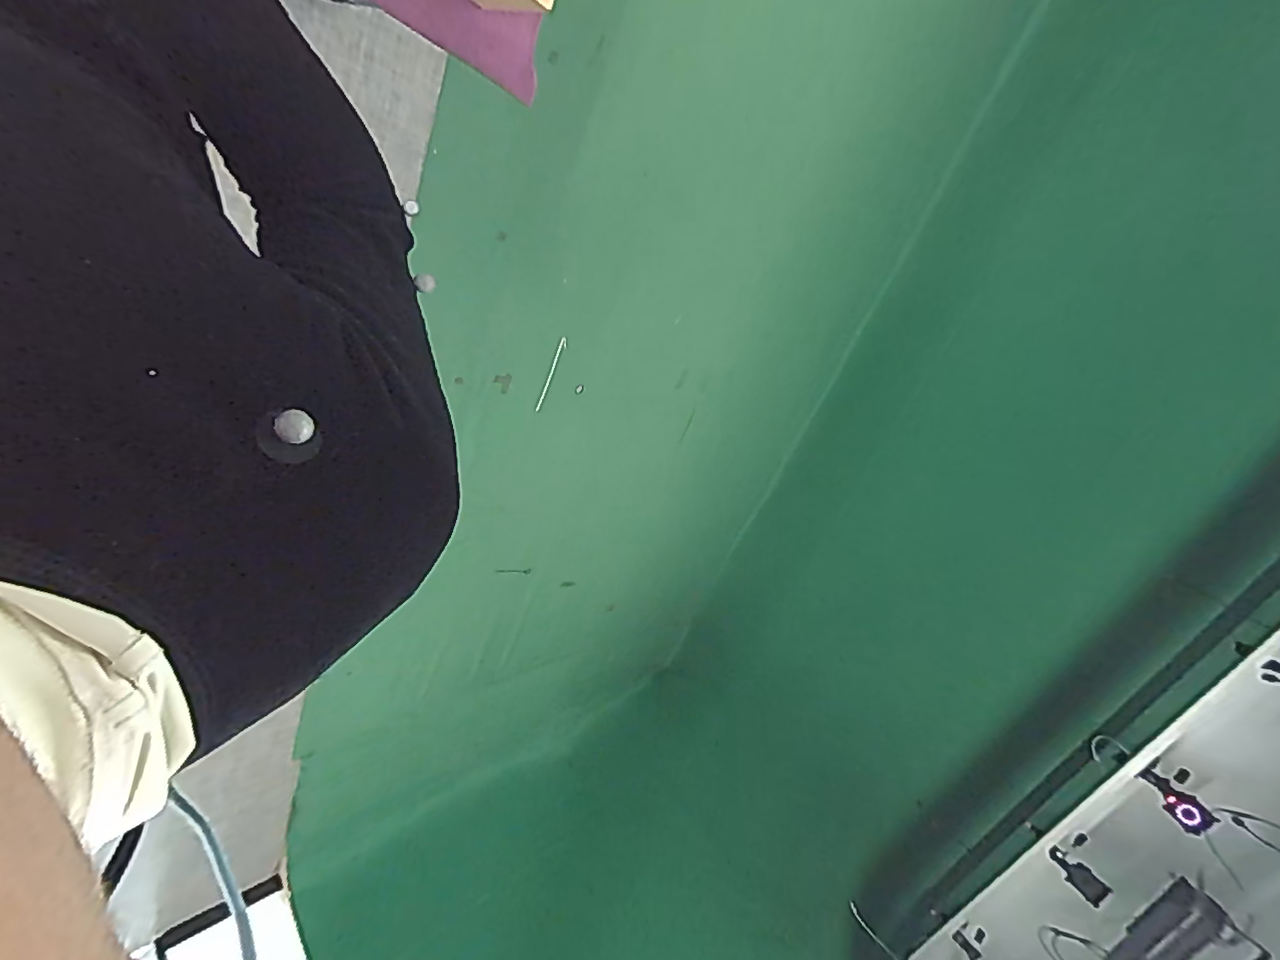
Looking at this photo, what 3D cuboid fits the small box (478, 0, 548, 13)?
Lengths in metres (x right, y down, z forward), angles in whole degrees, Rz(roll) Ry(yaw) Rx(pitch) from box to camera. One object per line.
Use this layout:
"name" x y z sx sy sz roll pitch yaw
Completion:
"small box" -0.189 -0.668 0.596 0.179 0.176 0.168 0 121 -50
